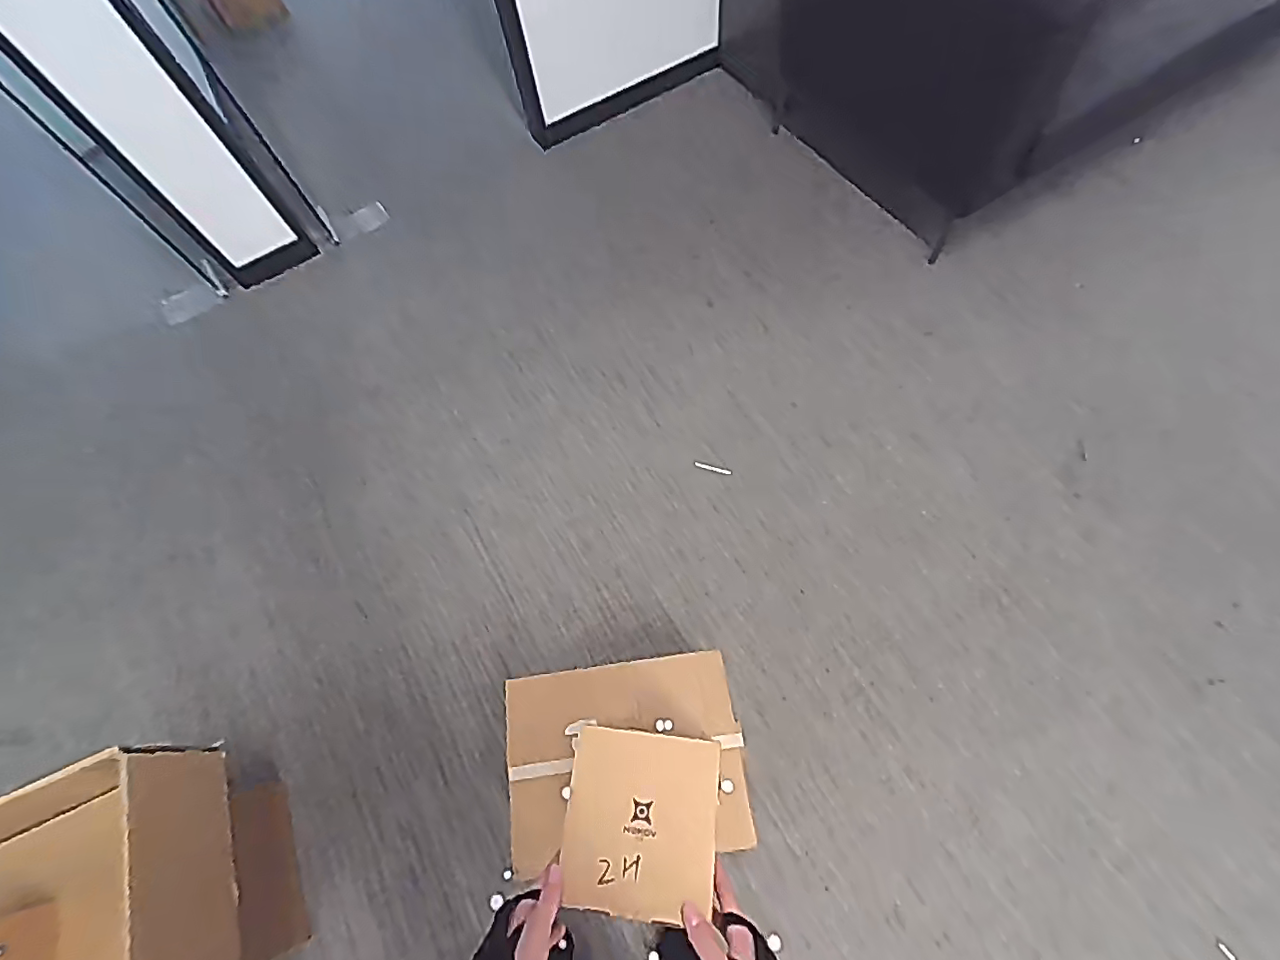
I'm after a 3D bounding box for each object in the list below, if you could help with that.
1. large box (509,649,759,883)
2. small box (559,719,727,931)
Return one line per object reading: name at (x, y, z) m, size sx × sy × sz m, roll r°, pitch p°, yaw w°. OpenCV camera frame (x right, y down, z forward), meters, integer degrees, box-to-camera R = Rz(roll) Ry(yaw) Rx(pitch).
large box at (-0.010, 0.539, 1.062) m, size 0.408 × 0.320 × 0.320 m, roll -9°, pitch 64°, yaw 2°
small box at (0.014, 0.396, 0.651) m, size 0.168 × 0.176 × 0.179 m, roll 4°, pitch 65°, yaw 9°
